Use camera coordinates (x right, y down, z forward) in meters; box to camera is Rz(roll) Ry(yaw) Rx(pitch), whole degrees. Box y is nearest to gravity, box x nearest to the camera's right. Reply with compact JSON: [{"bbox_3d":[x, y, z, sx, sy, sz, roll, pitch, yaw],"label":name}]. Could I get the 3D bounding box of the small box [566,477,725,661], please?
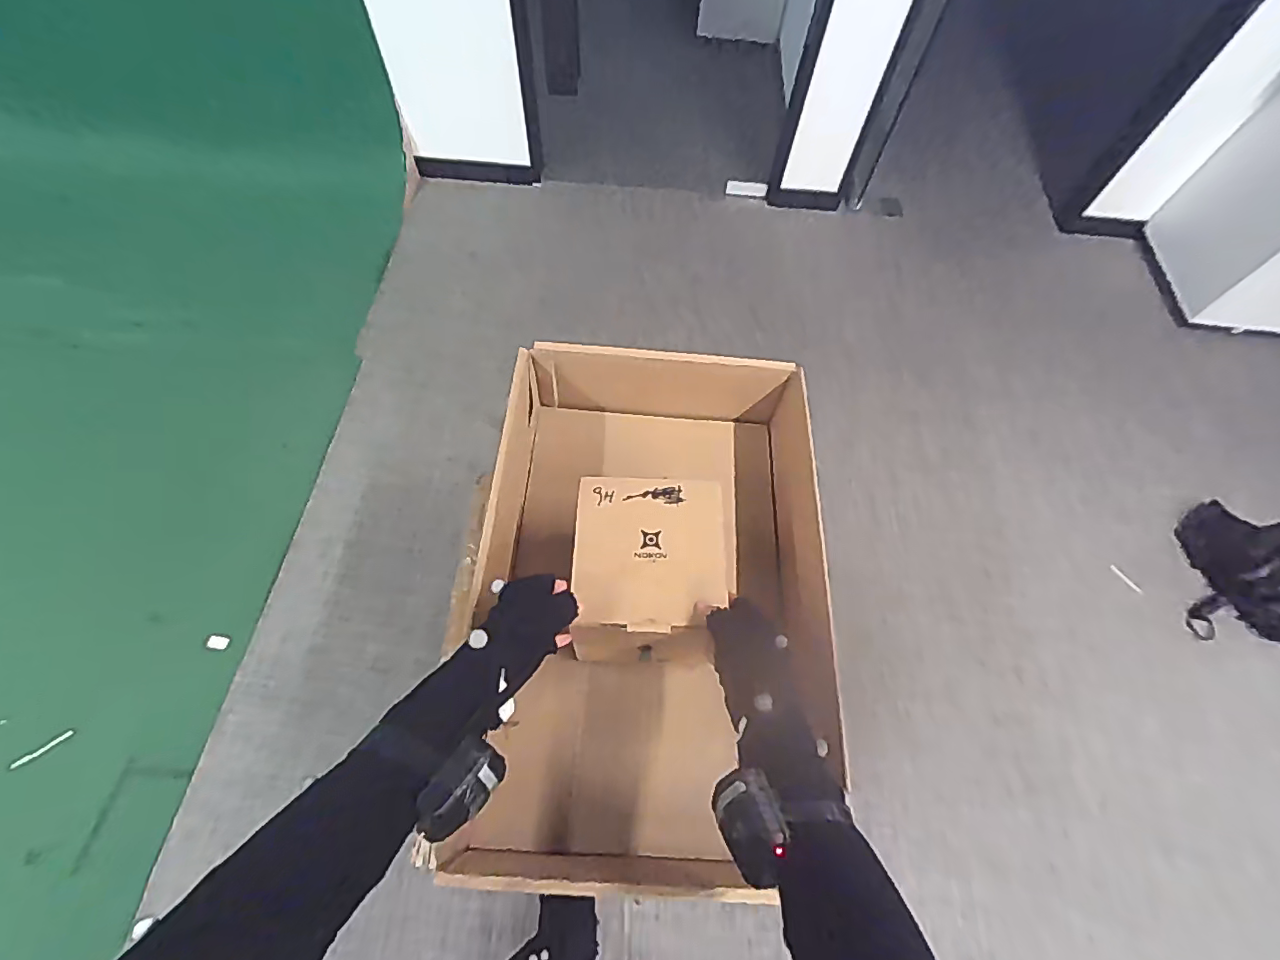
[{"bbox_3d":[0.007,0.114,0.653,0.168,0.176,0.179,3,60,-1],"label":"small box"}]
